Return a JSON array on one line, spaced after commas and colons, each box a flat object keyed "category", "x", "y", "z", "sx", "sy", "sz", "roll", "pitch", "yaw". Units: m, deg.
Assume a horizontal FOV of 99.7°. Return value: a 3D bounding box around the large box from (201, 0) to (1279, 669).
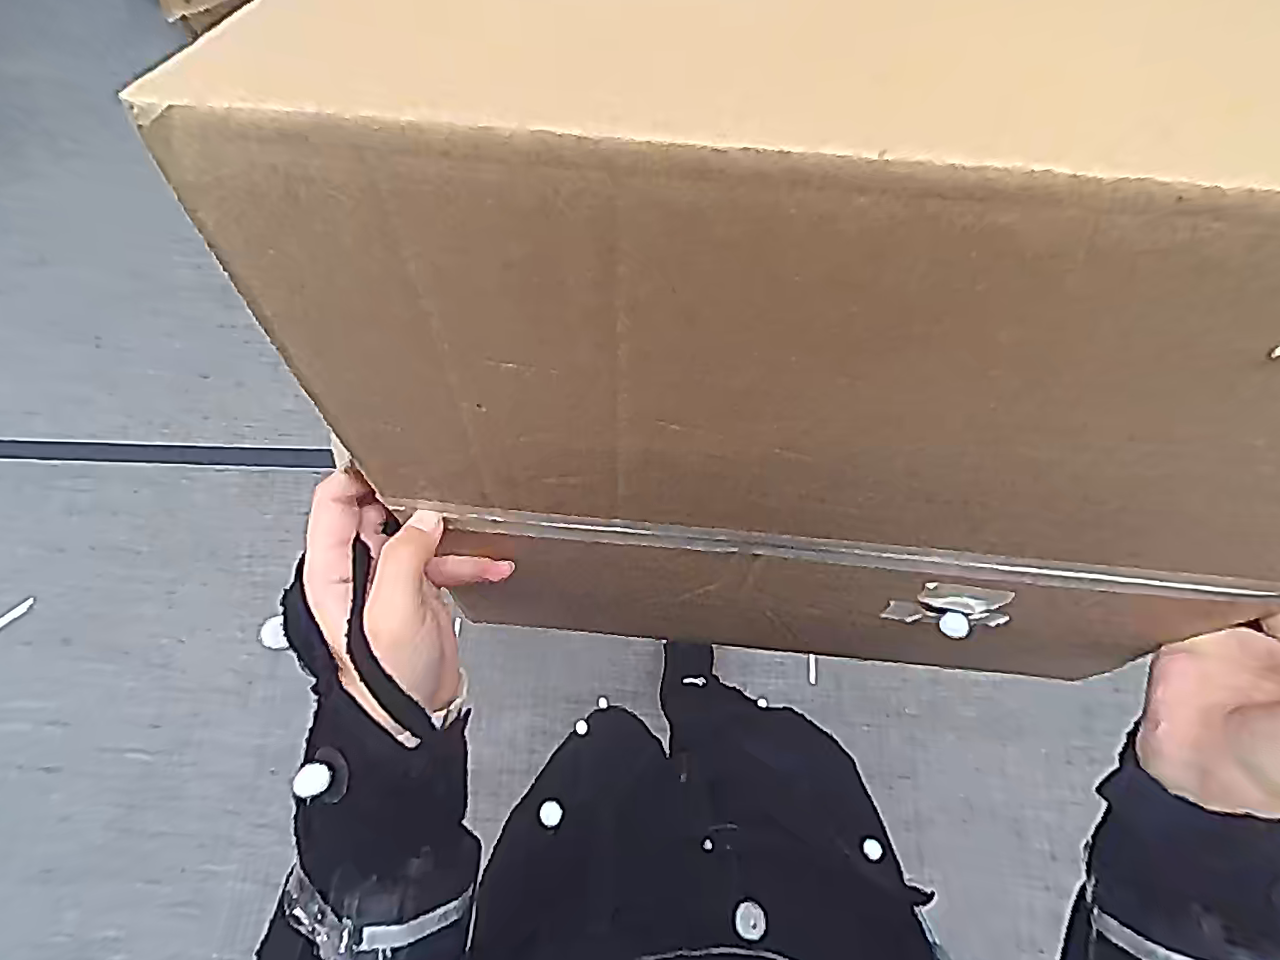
[{"category": "large box", "x": 0.096, "y": -0.095, "z": 0.328, "sx": 0.408, "sy": 0.320, "sz": 0.320, "roll": 4, "pitch": 57, "yaw": 1}]
